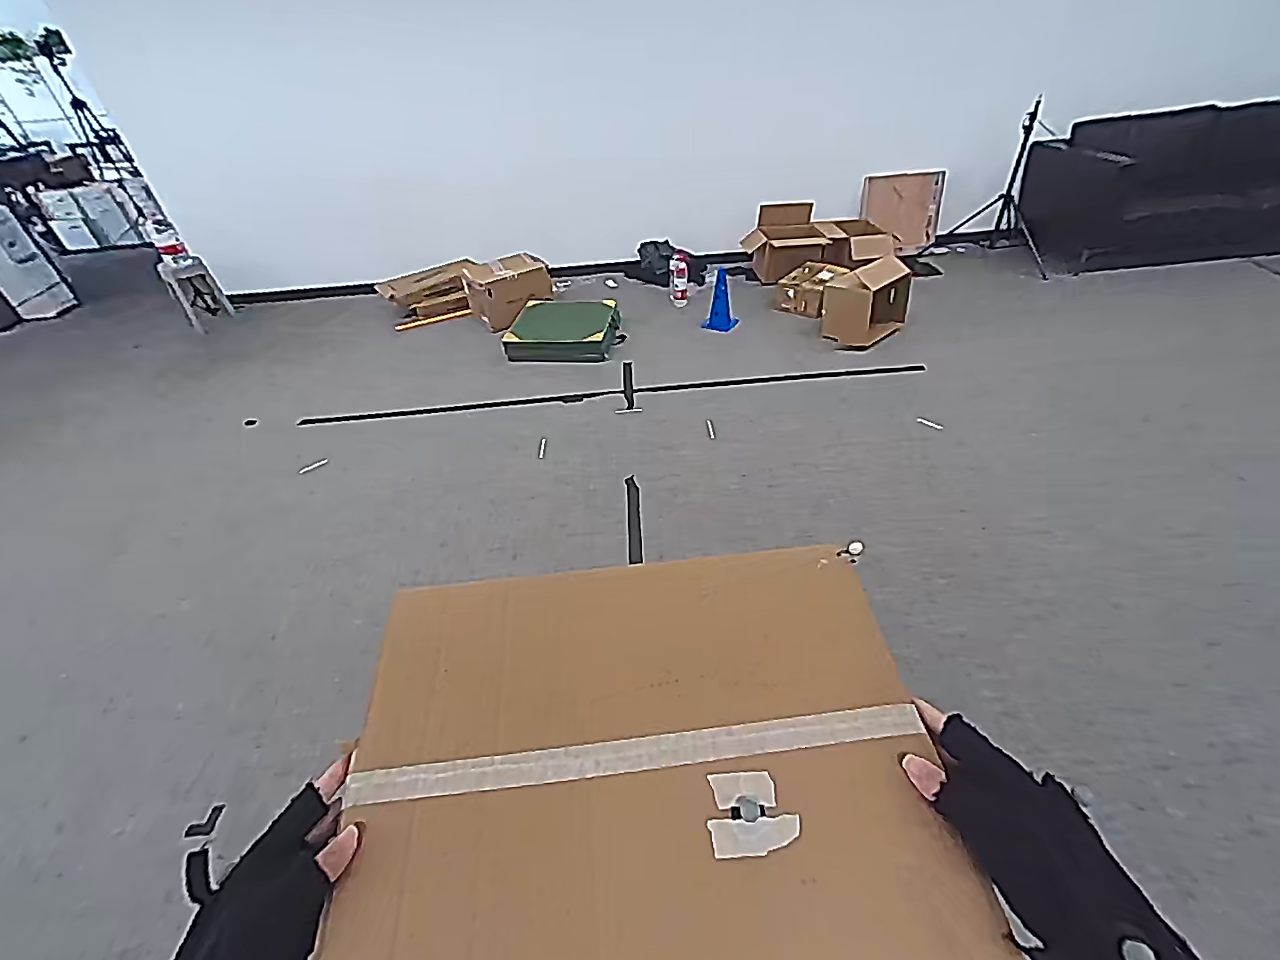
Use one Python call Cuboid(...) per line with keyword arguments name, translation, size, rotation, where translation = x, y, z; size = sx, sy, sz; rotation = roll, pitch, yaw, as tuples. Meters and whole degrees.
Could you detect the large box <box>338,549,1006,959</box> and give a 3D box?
Cuboid(name="large box", translation=(0.005, 0.297, 0.511), size=(0.408, 0.320, 0.320), rotation=(-5, 50, -3))
